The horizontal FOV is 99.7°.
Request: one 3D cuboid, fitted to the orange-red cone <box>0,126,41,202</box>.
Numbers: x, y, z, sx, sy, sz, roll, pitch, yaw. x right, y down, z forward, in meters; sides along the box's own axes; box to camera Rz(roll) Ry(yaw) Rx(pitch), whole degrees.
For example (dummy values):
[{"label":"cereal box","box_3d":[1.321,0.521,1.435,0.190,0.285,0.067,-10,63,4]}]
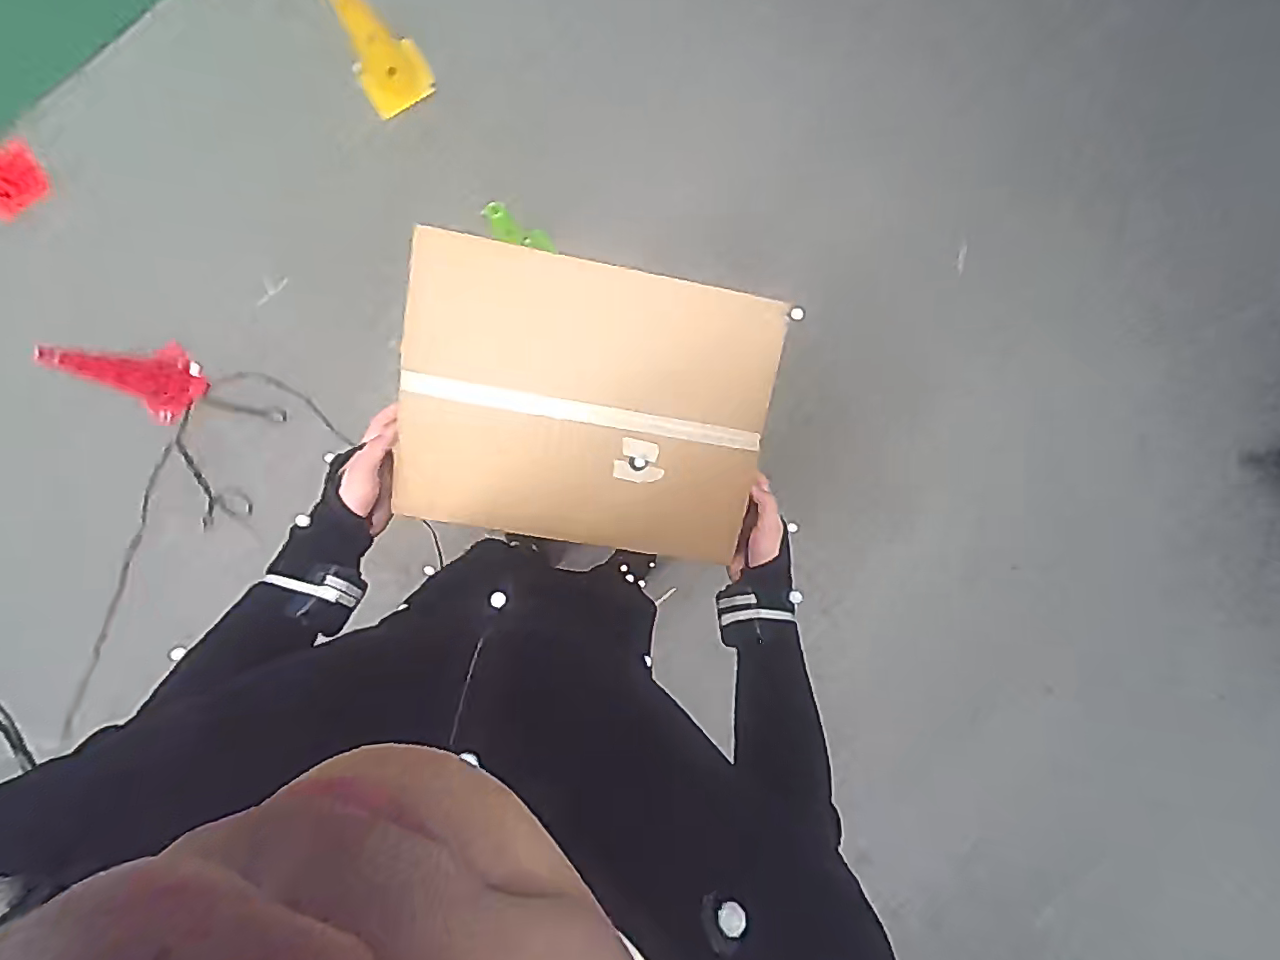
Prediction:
[{"label":"orange-red cone","box_3d":[-2.031,-1.008,1.550,0.199,0.360,0.198,-31,87,3]}]
